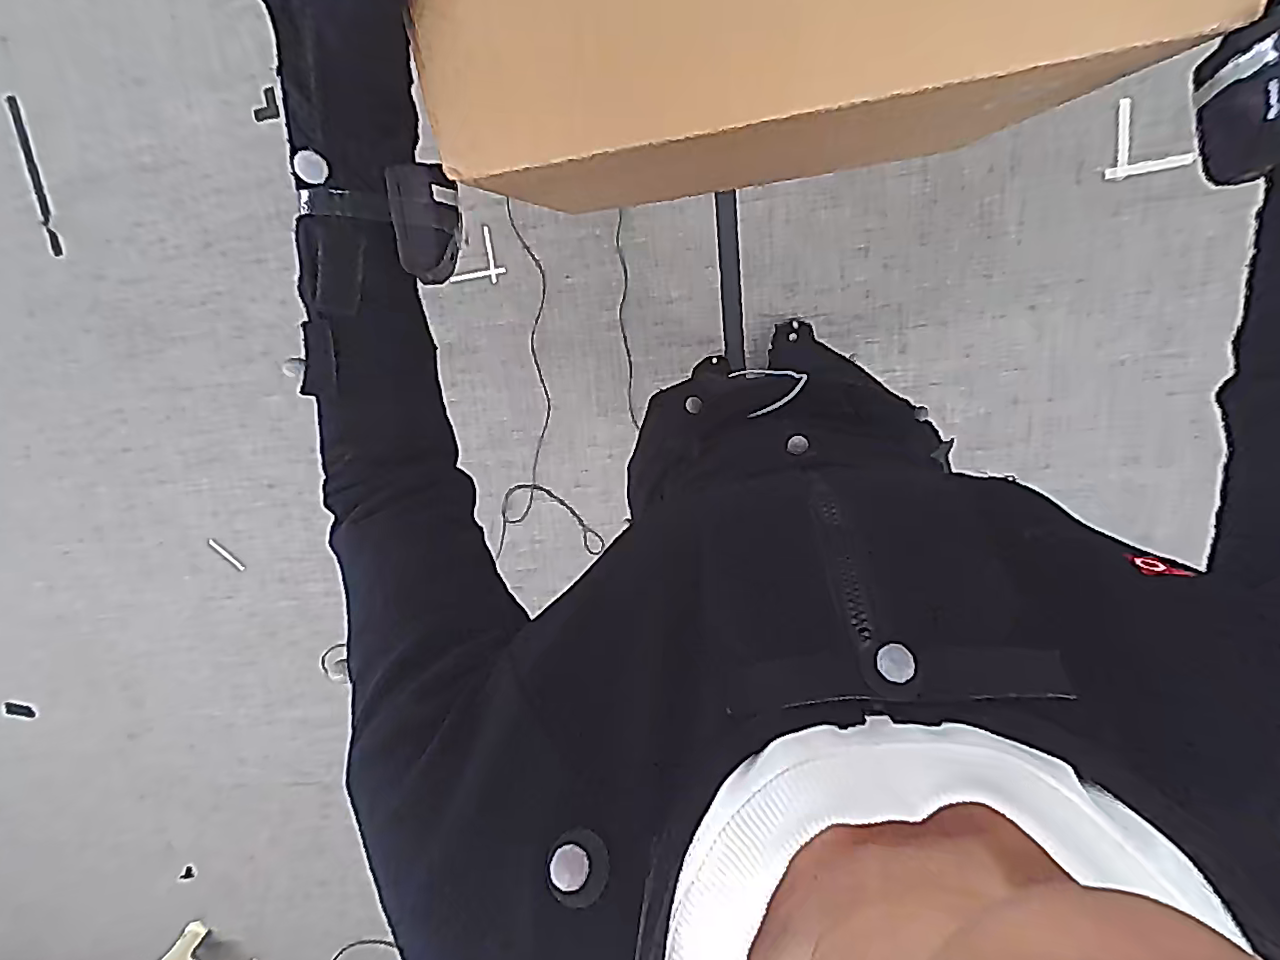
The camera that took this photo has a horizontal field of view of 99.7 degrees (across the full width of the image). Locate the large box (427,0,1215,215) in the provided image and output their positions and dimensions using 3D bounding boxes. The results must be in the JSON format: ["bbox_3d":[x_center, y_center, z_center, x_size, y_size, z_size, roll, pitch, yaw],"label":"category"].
[{"bbox_3d":[0.079,-0.401,0.378,0.408,0.320,0.320,-7,112,8],"label":"large box"}]
